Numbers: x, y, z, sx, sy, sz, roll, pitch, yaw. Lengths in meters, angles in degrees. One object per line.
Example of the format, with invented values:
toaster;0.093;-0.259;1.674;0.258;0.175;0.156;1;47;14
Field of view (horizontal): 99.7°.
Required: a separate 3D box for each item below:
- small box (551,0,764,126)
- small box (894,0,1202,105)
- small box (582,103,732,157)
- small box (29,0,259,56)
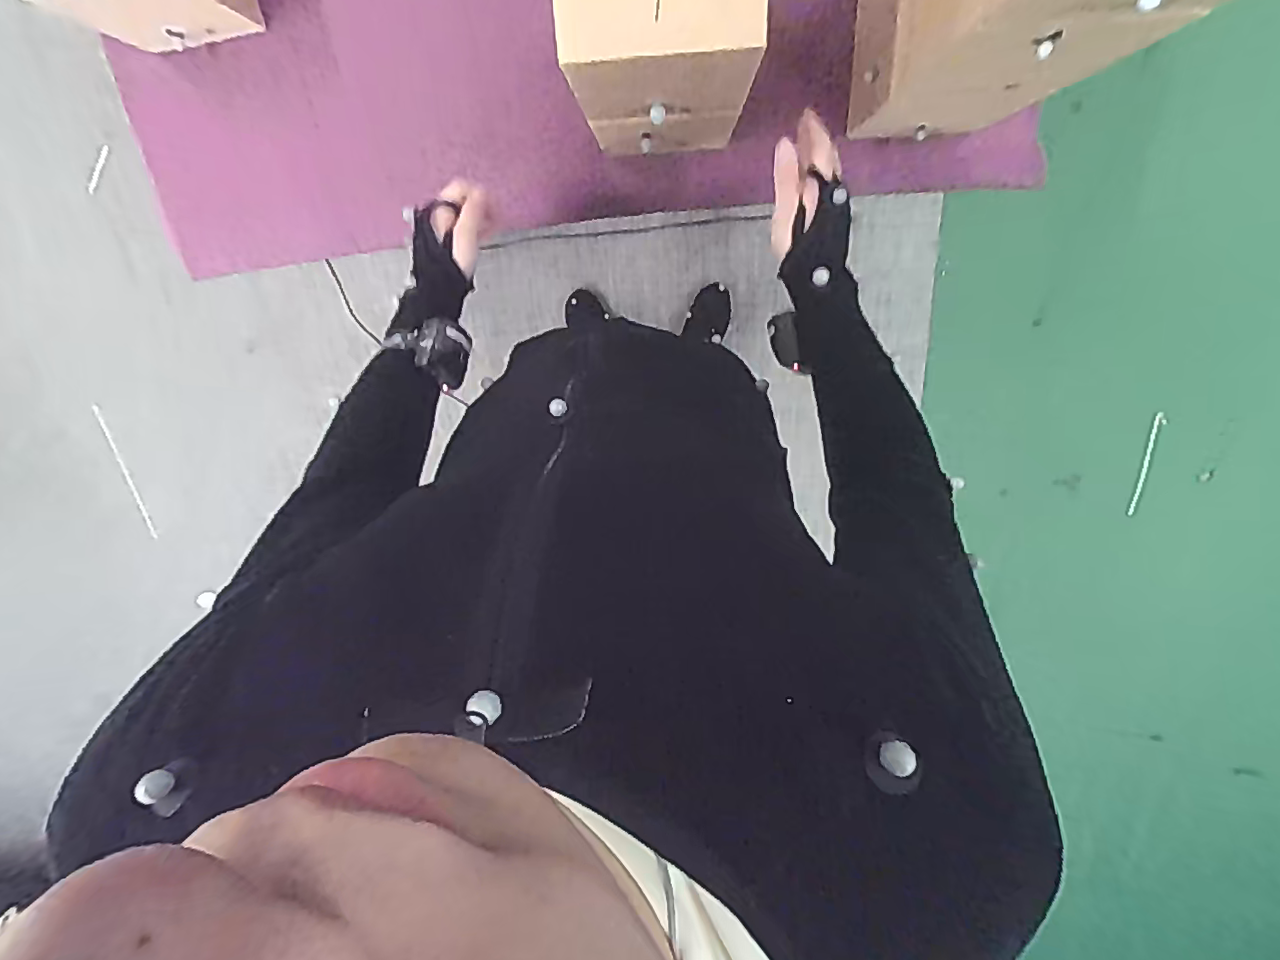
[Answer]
small box;0.015;-0.437;0.472;0.168;0.176;0.179;-1;110;4
small box;0.330;-0.442;0.448;0.168;0.176;0.179;0;110;5
small box;0.022;-0.490;0.628;0.168;0.176;0.179;-2;109;4
small box;-0.586;-0.624;0.609;0.168;0.176;0.179;-6;111;6
